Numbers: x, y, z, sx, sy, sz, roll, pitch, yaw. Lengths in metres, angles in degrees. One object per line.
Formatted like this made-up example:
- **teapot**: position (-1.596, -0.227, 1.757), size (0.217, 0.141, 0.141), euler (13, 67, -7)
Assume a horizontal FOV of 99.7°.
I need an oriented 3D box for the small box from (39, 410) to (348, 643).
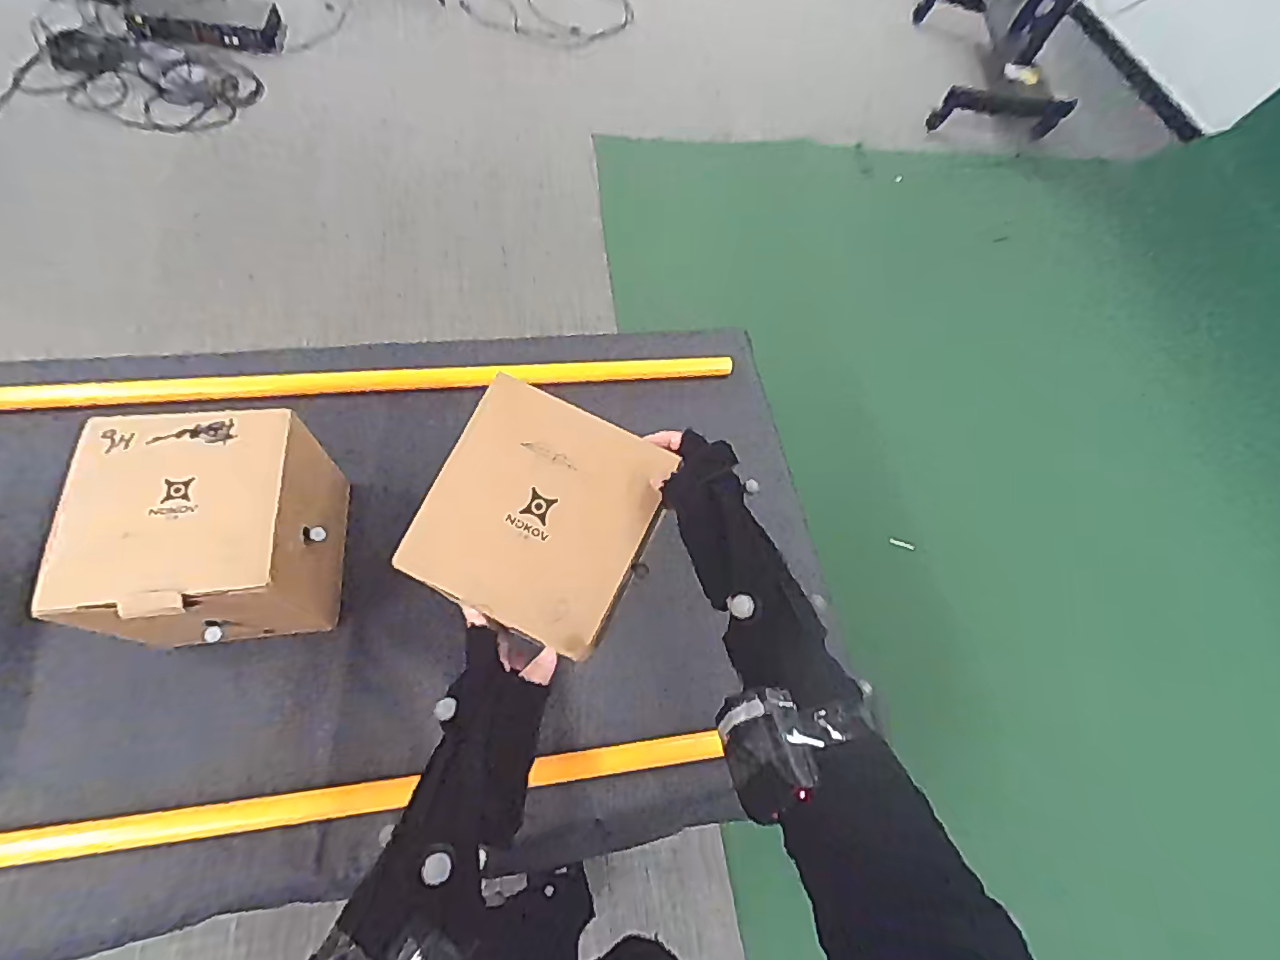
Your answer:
- **small box**: position (-0.405, 0.055, 0.532), size (0.168, 0.176, 0.179), euler (-7, 65, -11)
